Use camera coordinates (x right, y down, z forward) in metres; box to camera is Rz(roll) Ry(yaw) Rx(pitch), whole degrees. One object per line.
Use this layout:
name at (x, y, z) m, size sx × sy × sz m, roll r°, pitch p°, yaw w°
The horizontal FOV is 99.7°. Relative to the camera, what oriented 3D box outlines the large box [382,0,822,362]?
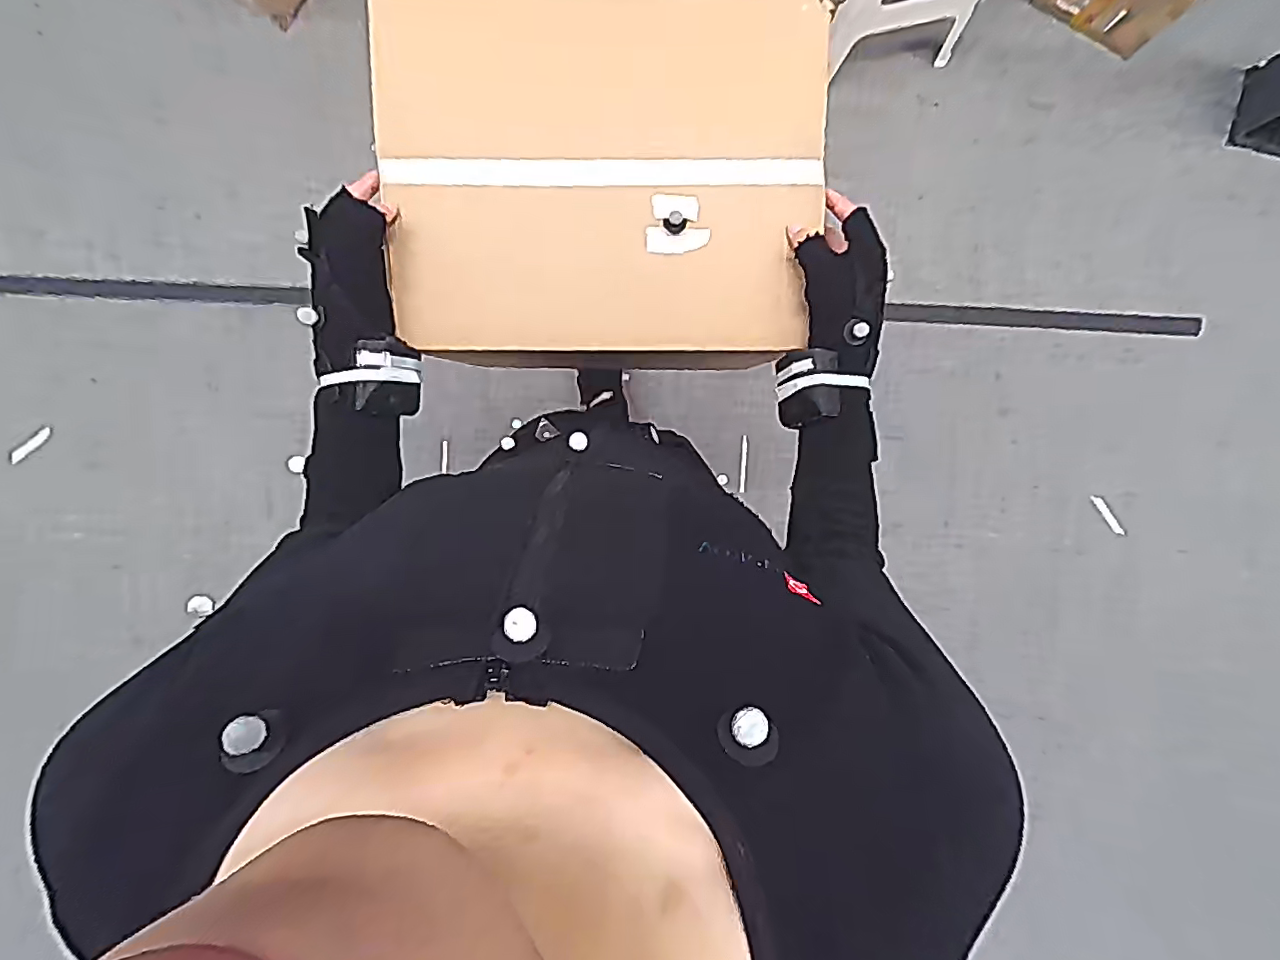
large box at (-0.036, -0.315, 0.651) m, size 0.408 × 0.320 × 0.320 m, roll 0°, pitch 98°, yaw -1°
